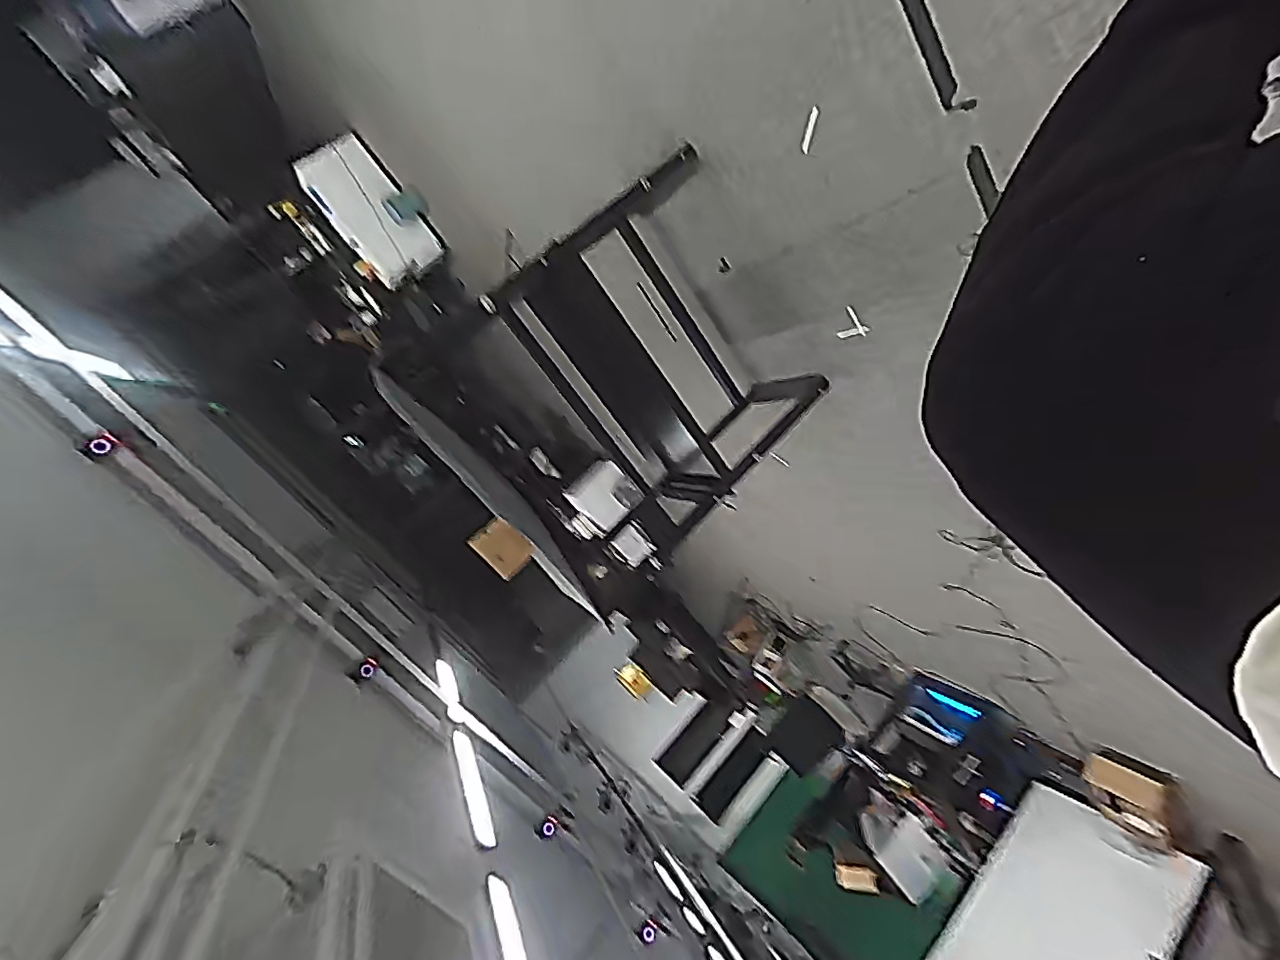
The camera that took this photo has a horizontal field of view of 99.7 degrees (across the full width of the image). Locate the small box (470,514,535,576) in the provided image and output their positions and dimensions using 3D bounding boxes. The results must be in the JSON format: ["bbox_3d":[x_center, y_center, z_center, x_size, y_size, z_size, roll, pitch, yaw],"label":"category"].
[{"bbox_3d":[-0.565,0.259,2.218,0.179,0.176,0.168,52,163,-21],"label":"small box"}]
